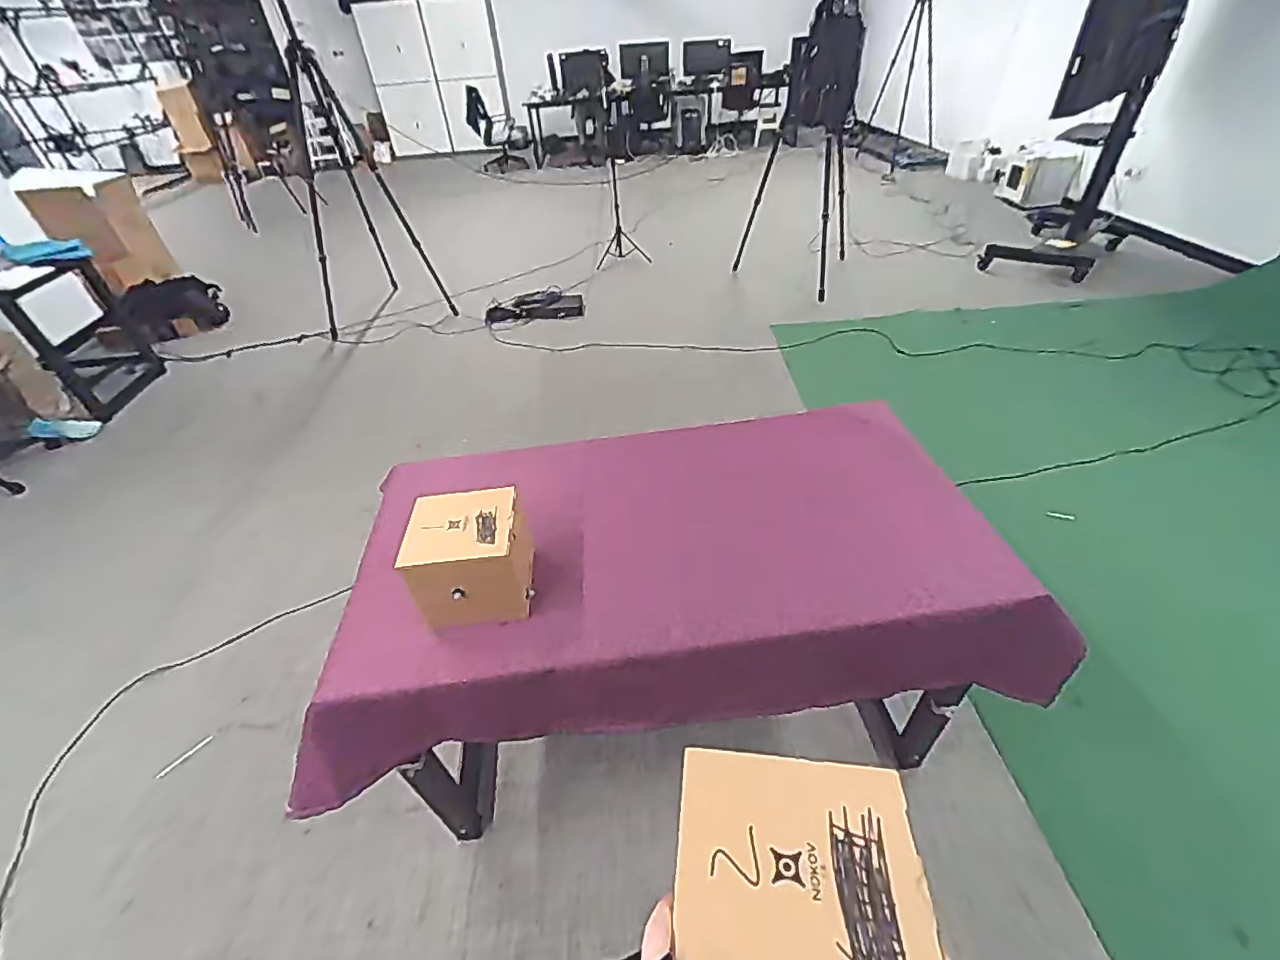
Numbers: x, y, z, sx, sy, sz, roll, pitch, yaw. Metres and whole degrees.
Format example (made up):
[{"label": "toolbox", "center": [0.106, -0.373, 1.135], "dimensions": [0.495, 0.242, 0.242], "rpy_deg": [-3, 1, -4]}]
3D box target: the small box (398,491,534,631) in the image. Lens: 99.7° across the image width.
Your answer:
[{"label": "small box", "center": [-0.286, 0.141, 0.940], "dimensions": [0.179, 0.176, 0.168], "rpy_deg": [-7, 40, -1]}]
